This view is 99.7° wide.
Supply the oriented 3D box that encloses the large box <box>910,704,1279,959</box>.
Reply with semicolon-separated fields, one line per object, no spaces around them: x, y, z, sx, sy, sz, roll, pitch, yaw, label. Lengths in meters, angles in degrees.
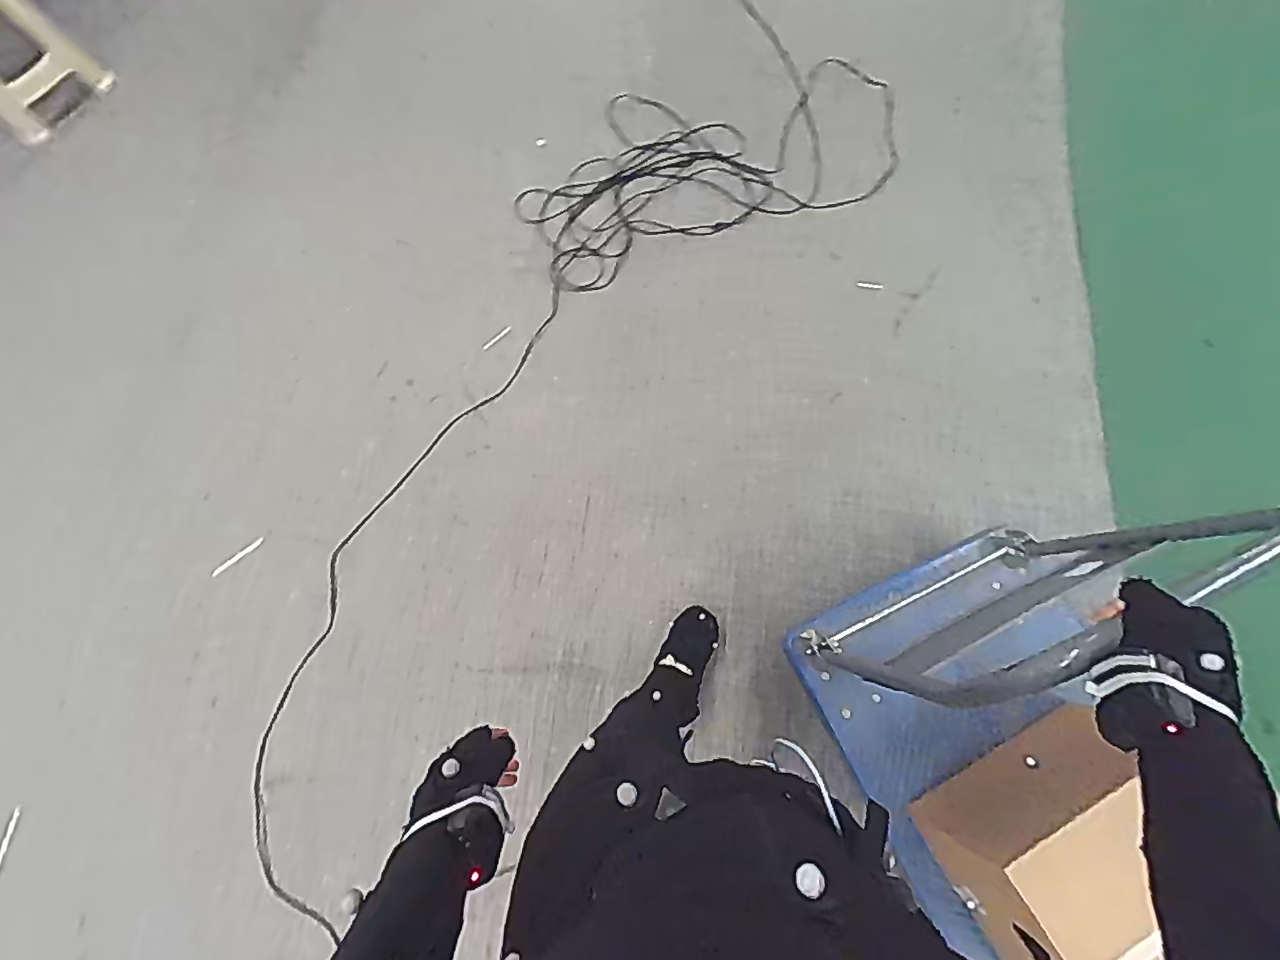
0.749;0.619;0.876;0.408;0.320;0.320;-29;75;-8;large box
